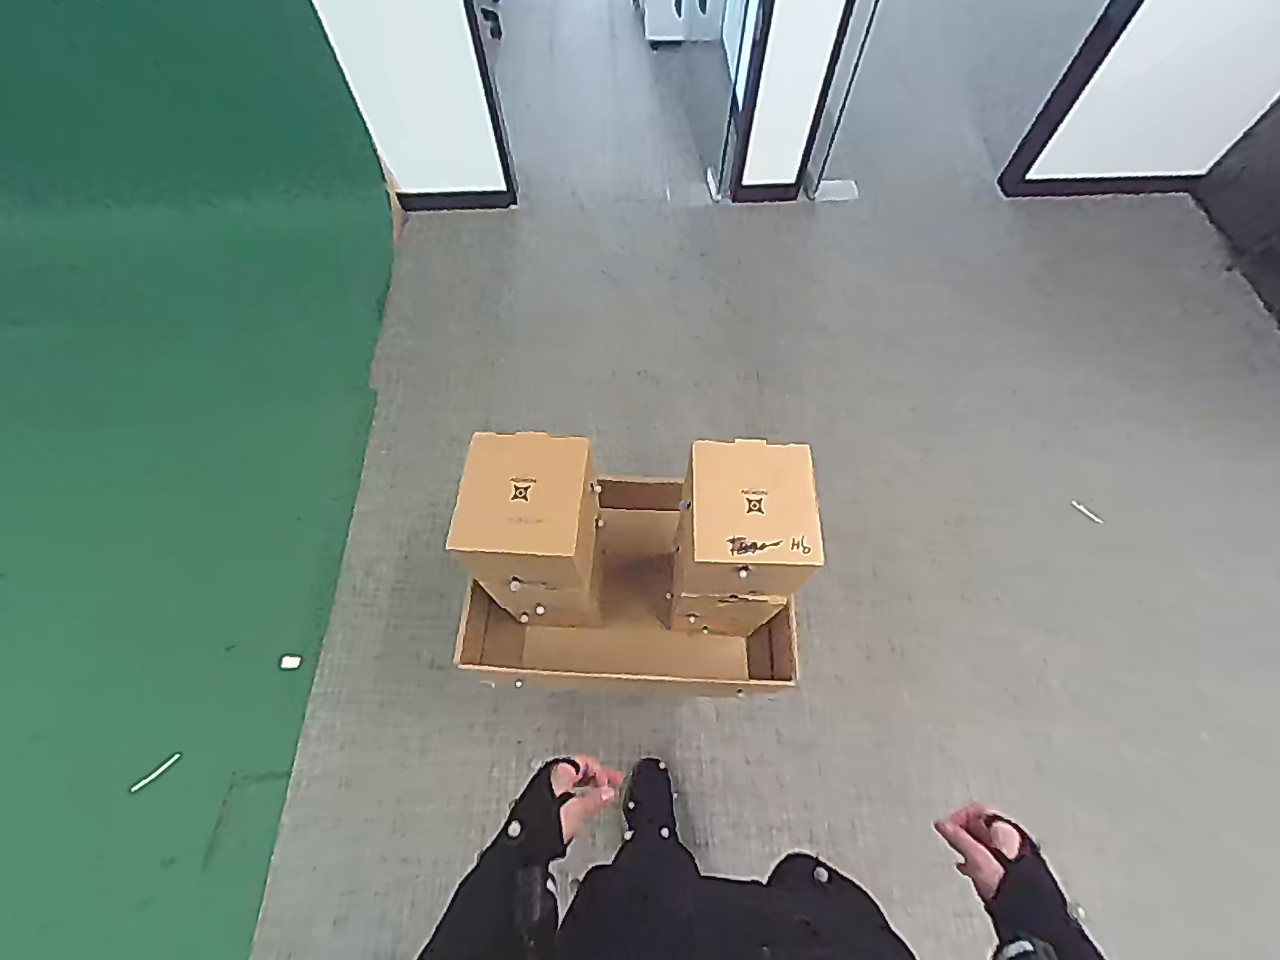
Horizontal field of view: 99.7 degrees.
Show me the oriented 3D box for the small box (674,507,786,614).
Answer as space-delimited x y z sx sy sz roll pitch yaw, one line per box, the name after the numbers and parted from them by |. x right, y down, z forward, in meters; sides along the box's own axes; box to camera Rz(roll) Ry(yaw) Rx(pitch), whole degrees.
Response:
0.148 0.127 0.926 0.168 0.176 0.179 4 65 1 | small box

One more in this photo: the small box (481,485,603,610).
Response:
-0.157 0.114 0.932 0.168 0.176 0.179 3 65 3 | small box

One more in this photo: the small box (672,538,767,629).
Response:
0.151 0.191 1.078 0.168 0.176 0.179 2 66 1 | small box

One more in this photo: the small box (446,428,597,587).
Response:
-0.157 0.044 0.785 0.168 0.176 0.179 3 65 3 | small box

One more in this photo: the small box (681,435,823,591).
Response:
0.147 0.052 0.780 0.168 0.176 0.179 1 65 0 | small box
